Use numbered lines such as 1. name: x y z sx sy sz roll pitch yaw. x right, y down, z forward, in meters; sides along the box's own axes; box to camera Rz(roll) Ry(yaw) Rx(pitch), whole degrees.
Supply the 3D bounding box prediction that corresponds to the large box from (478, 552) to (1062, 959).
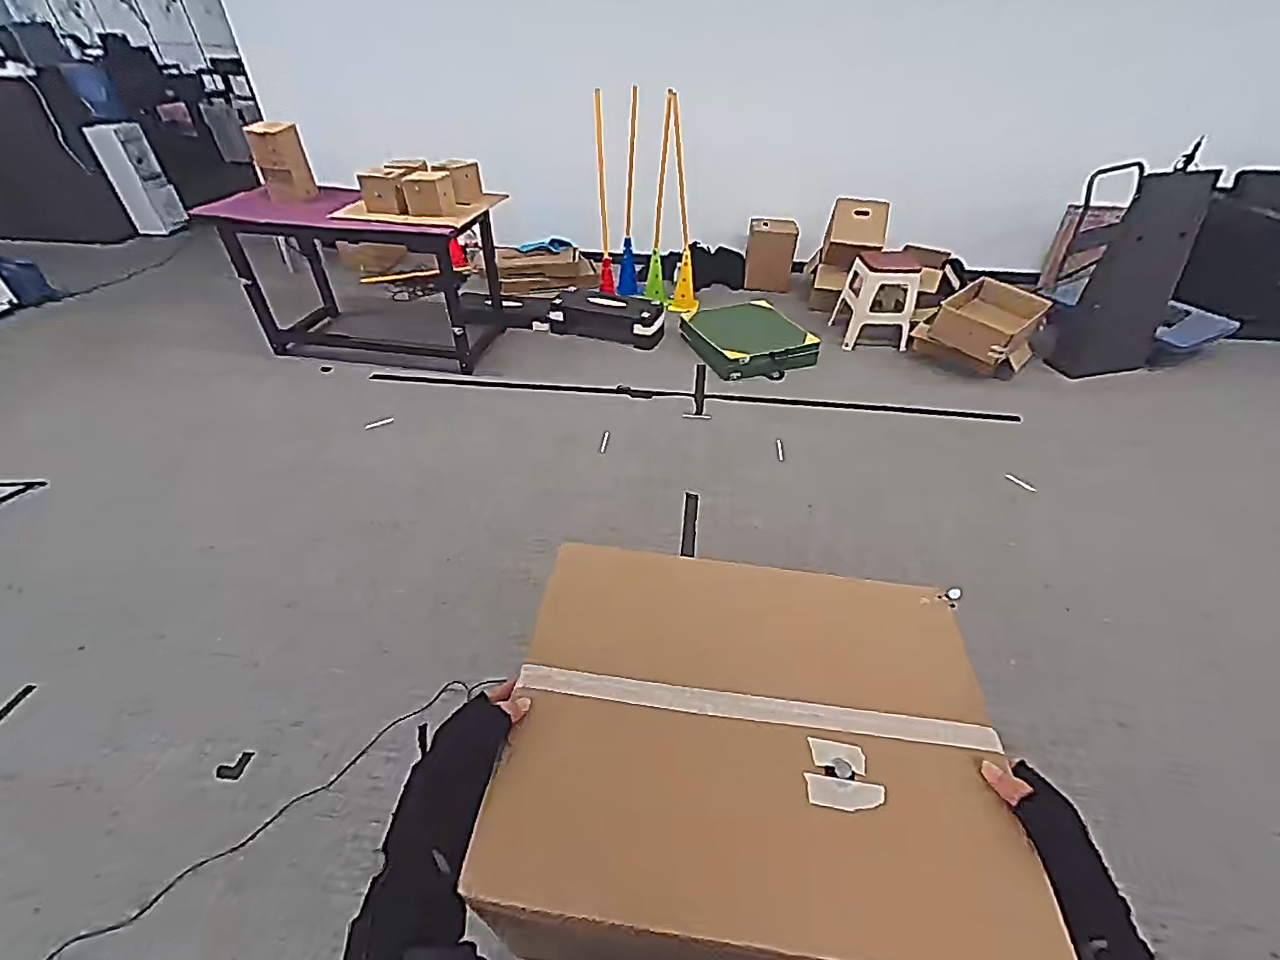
1. large box: 0.091 0.310 0.570 0.408 0.320 0.320 7 44 4
